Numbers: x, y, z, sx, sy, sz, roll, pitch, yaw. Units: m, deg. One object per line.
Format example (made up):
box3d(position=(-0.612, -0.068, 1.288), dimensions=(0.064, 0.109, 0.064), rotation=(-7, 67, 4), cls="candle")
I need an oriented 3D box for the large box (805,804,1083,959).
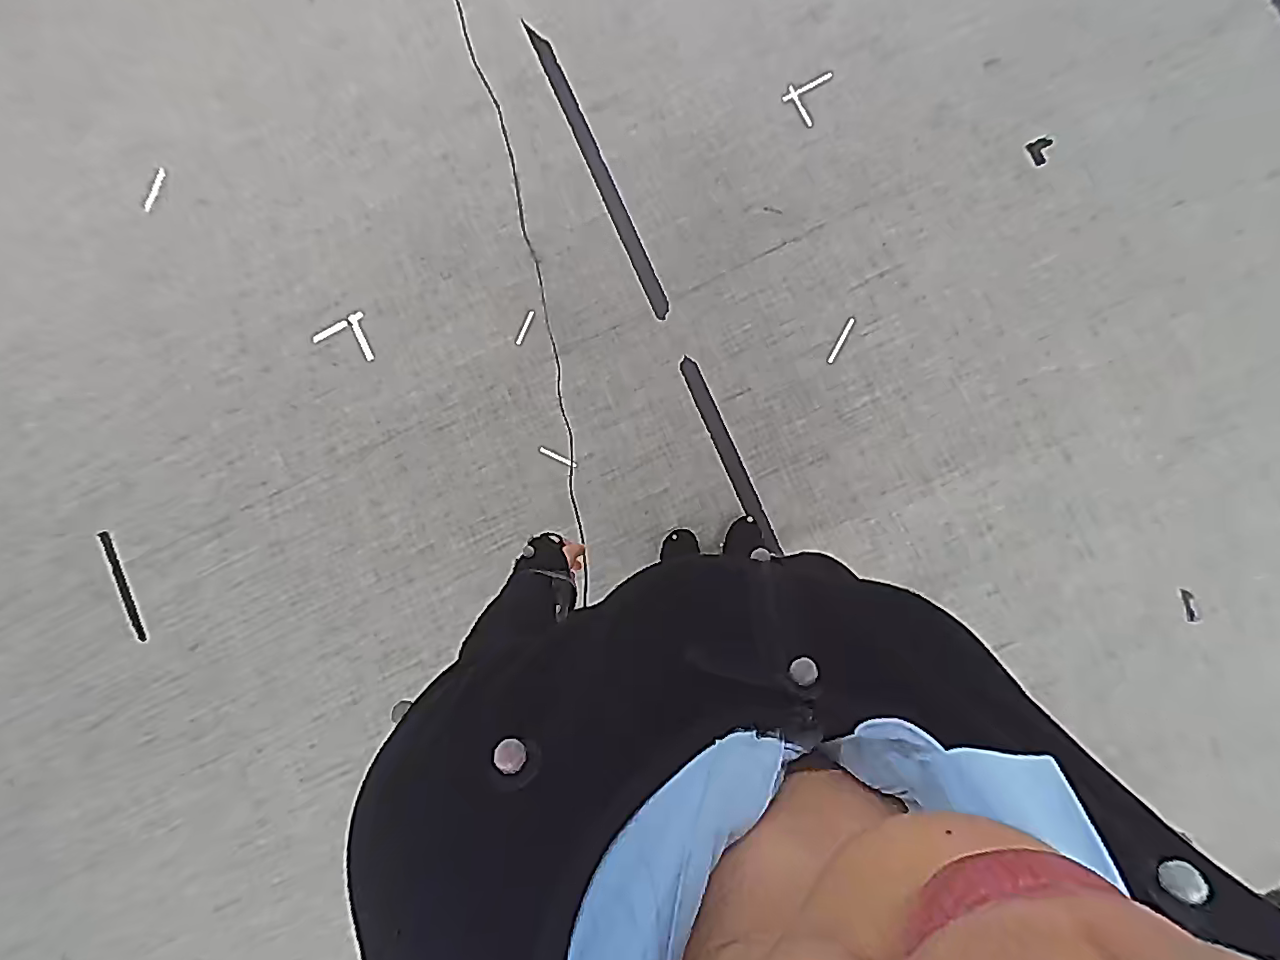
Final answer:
box3d(position=(0.610, 0.946, 1.092), dimensions=(0.408, 0.320, 0.320), rotation=(-24, 85, 3), cls="large box")
